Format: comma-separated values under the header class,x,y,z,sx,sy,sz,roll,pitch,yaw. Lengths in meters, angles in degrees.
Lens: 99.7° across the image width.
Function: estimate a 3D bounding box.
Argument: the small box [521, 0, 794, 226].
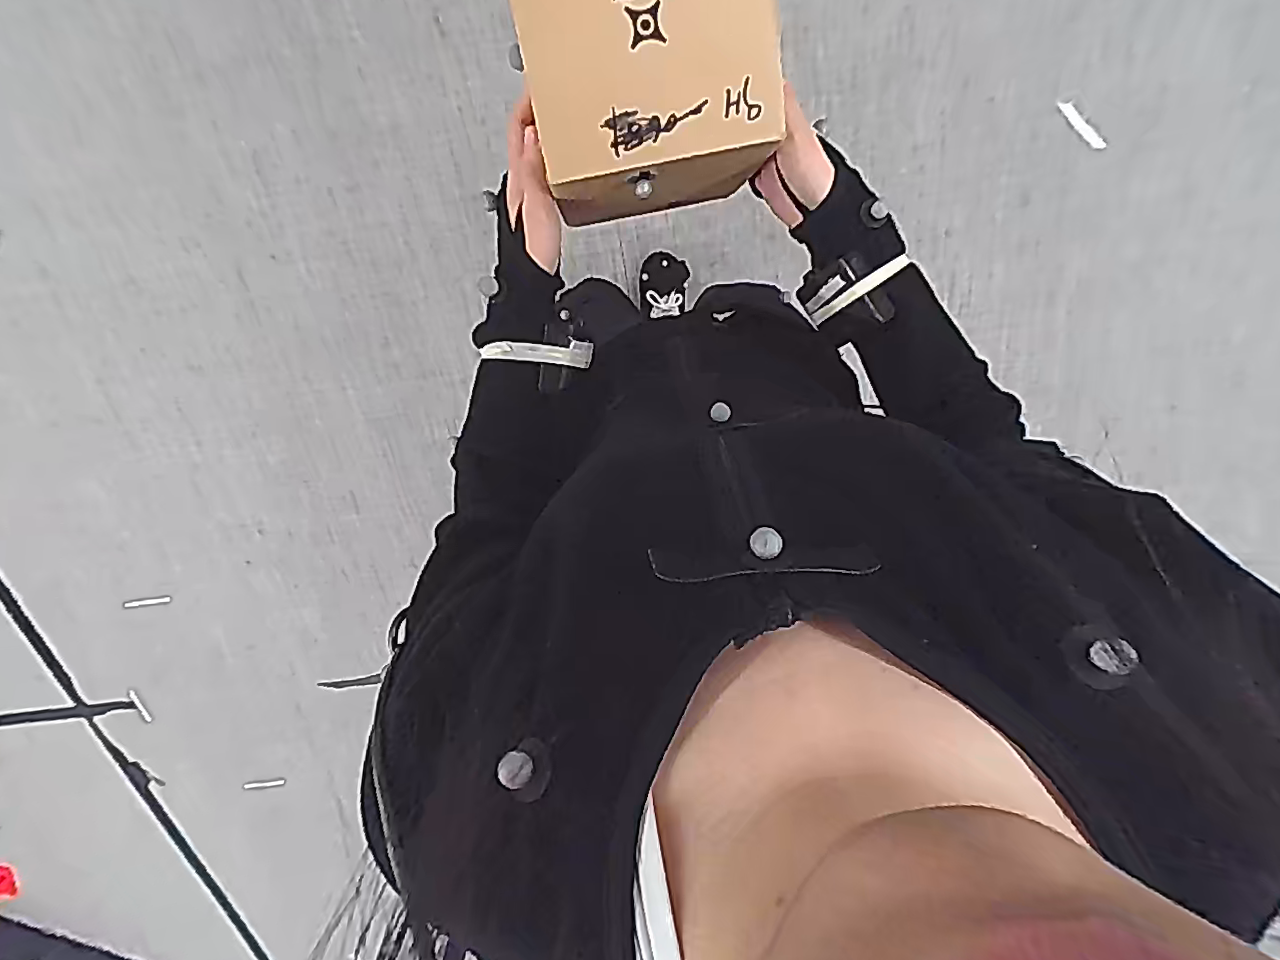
class,x,y,z,sx,sy,sz,roll,pitch,yaw
small box,0.003,-0.315,0.415,0.168,0.176,0.179,-11,106,0
